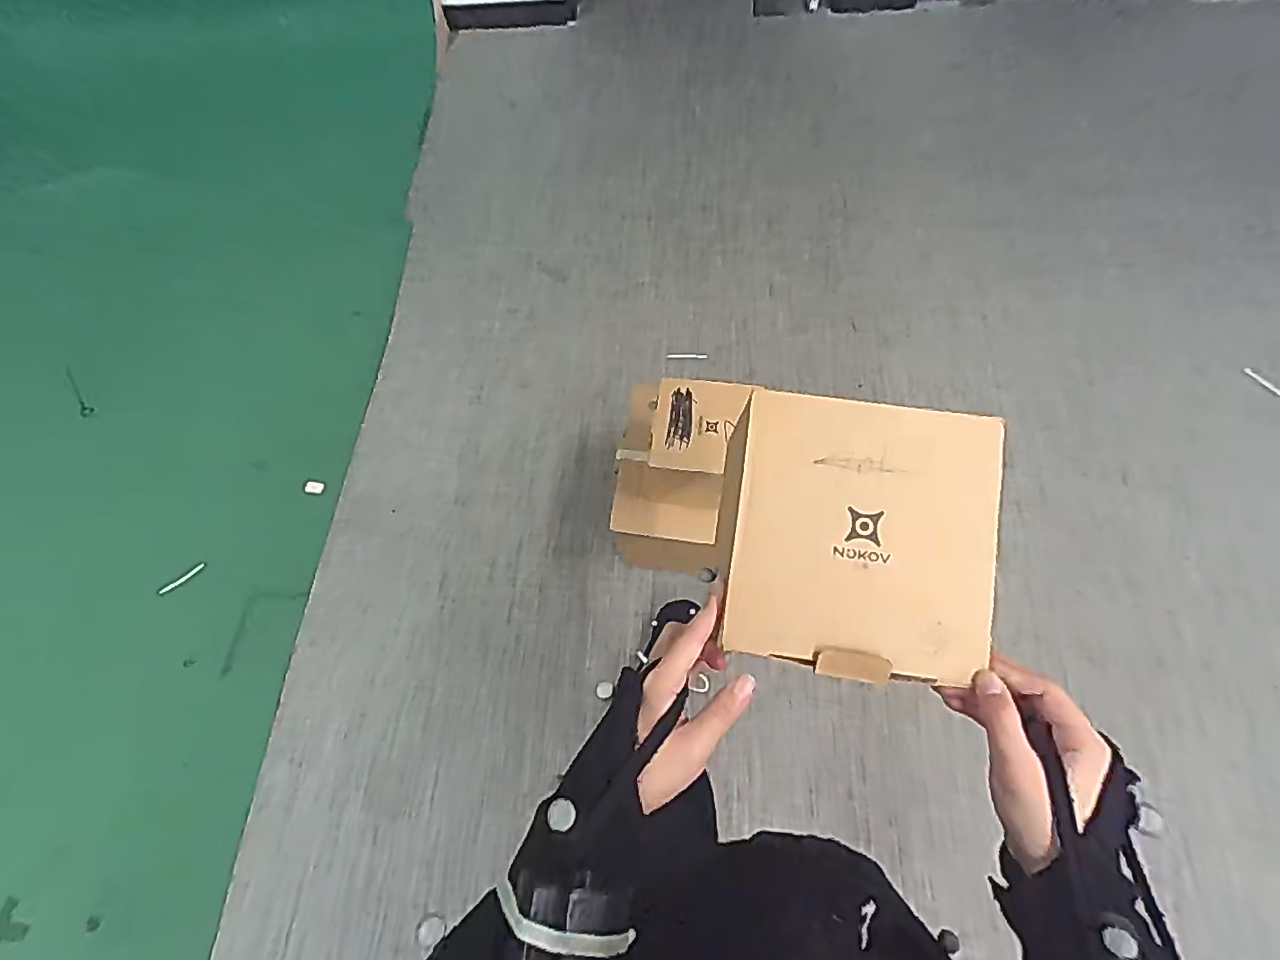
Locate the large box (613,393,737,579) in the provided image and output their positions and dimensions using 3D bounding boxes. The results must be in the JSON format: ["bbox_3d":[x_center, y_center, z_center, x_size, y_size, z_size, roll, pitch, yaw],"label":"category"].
[{"bbox_3d":[0.170,0.038,1.168,0.408,0.320,0.320,7,70,5],"label":"large box"}]

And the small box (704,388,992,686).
[{"bbox_3d":[0.143,0.044,0.429,0.168,0.176,0.179,7,81,4],"label":"small box"}]
